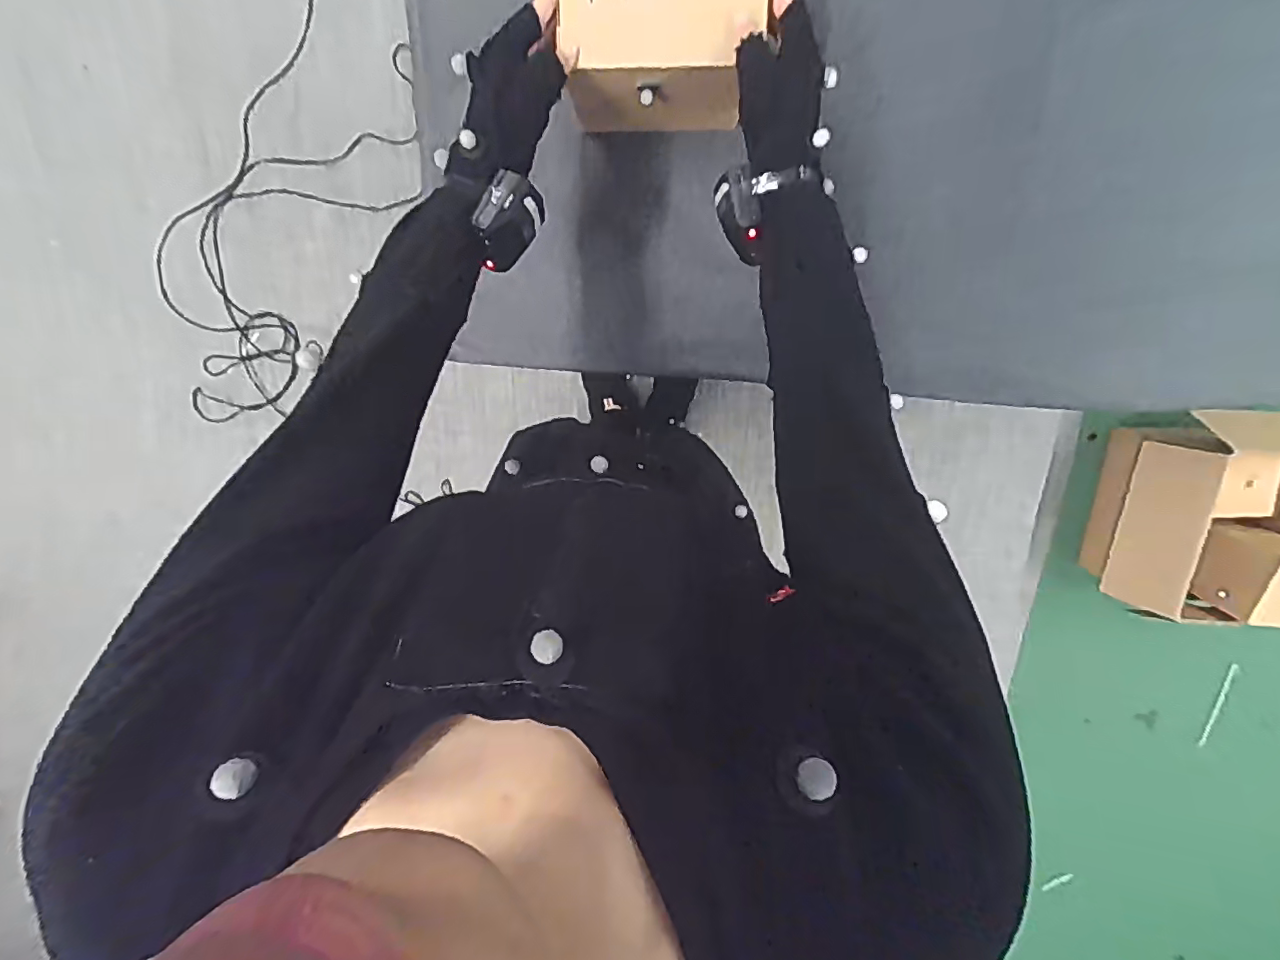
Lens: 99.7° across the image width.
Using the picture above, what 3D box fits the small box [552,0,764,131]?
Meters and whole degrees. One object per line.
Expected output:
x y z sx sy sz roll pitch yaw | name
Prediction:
0.016 -0.446 0.508 0.179 0.176 0.168 -1 108 0 | small box
